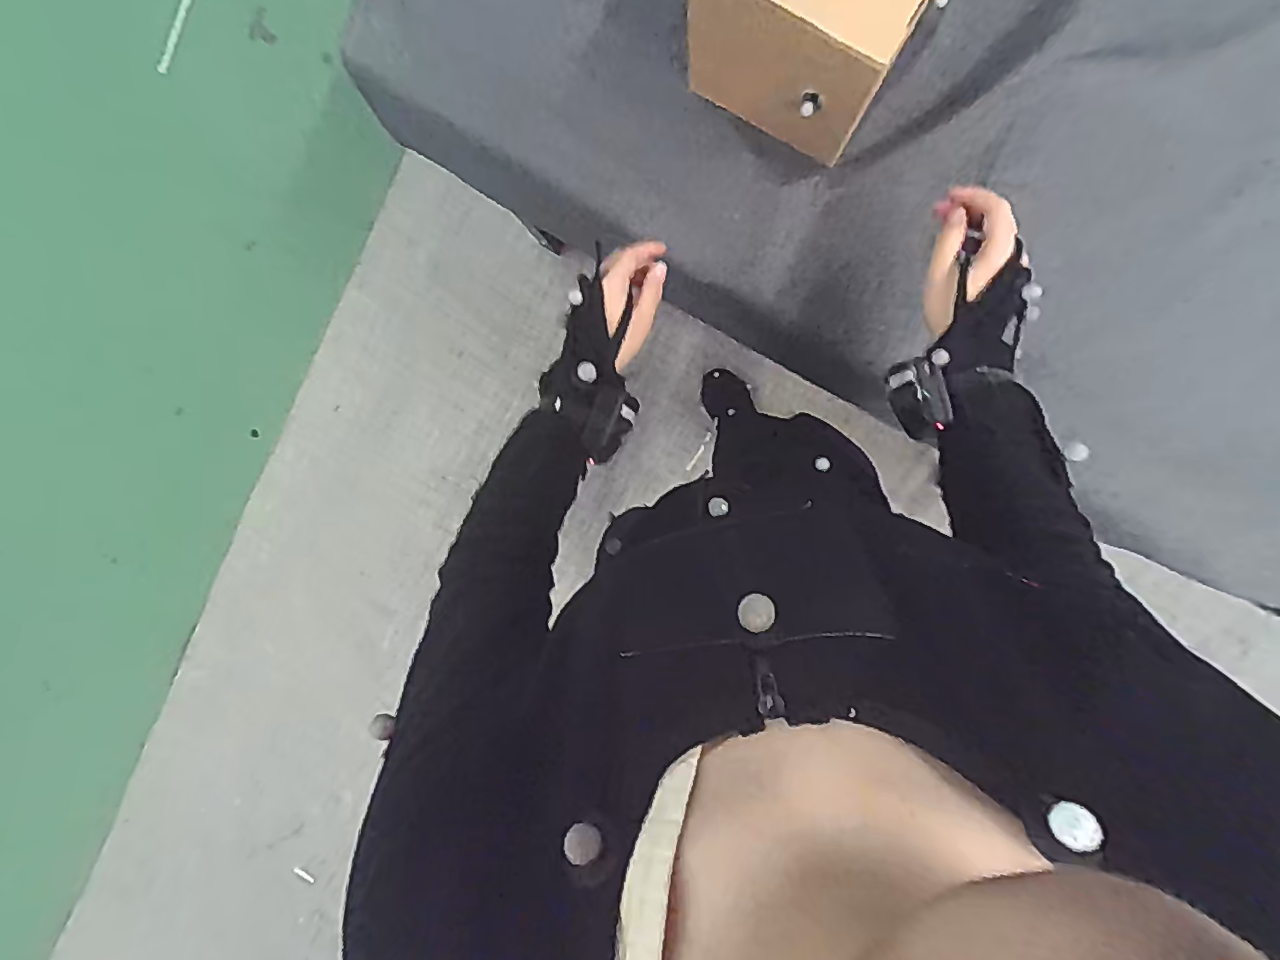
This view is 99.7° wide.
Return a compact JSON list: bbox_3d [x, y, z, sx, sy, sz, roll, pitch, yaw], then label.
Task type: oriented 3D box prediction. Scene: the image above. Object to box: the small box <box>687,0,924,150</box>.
[{"bbox_3d":[0.157,-0.434,0.479,0.179,0.176,0.168,30,97,2],"label":"small box"}]
